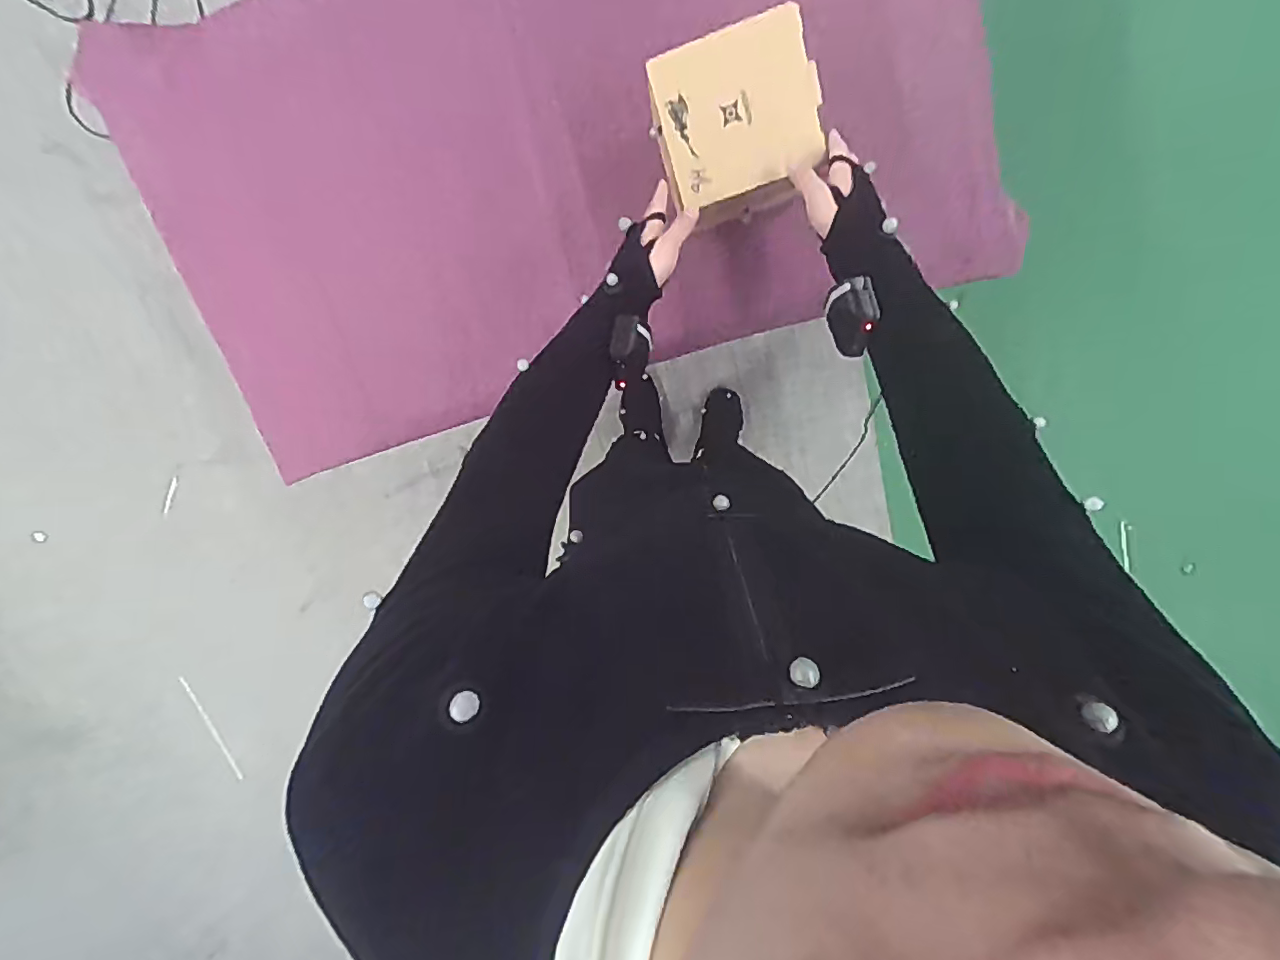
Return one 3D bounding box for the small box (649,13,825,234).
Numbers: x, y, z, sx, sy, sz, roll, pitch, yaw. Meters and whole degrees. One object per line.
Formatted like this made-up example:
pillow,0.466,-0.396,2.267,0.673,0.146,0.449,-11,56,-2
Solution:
small box,0.118,-0.438,0.698,0.179,0.176,0.168,-15,103,9
